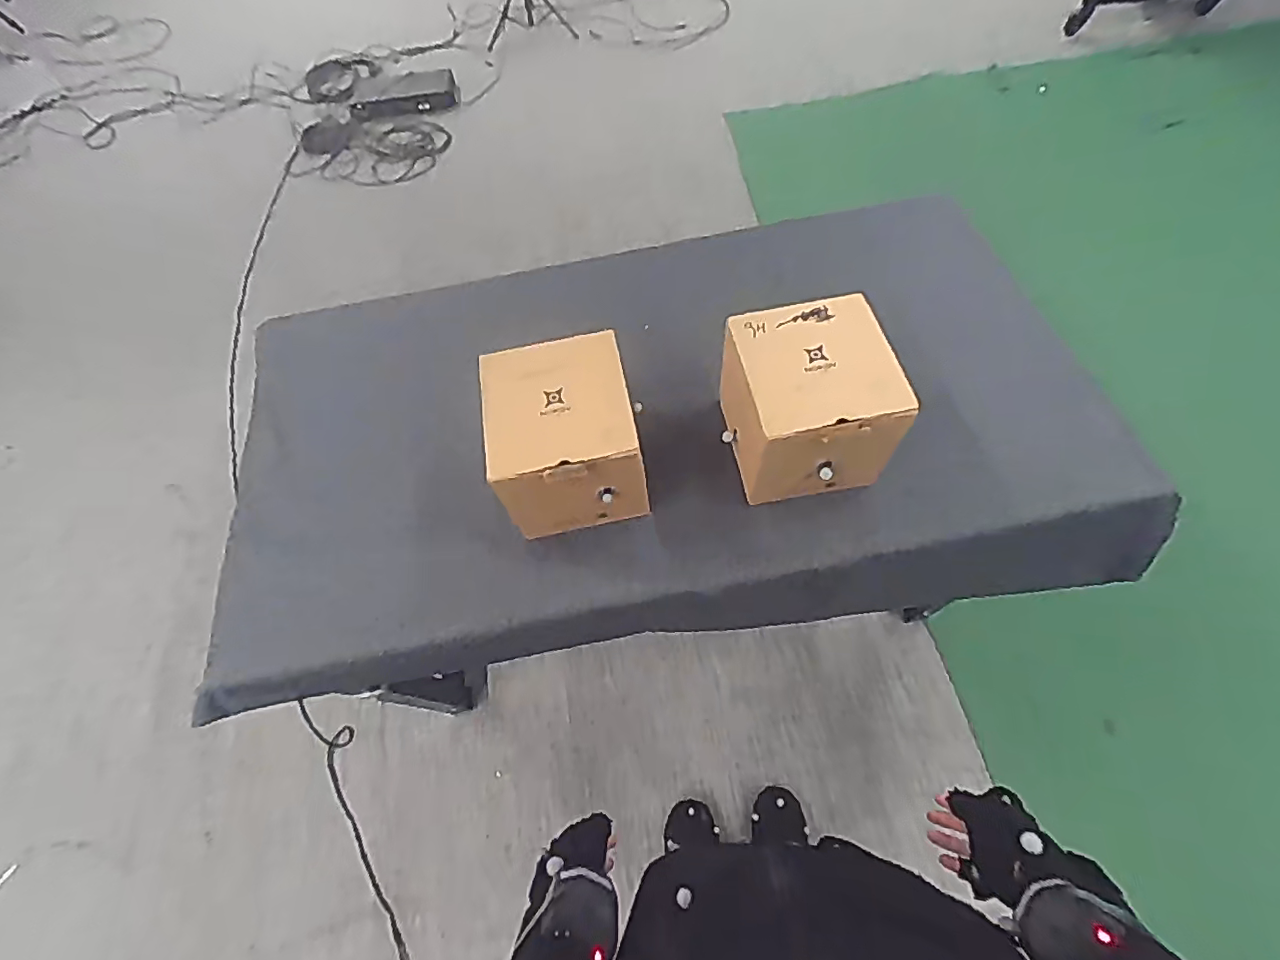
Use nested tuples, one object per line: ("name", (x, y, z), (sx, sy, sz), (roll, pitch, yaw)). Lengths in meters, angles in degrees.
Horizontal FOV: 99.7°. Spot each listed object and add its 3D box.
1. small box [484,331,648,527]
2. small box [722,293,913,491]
("small box", (-0.087, -0.054, 0.684), (0.168, 0.176, 0.179), (-12, 61, -3))
("small box", (0.204, -0.098, 0.680), (0.168, 0.176, 0.179), (-10, 63, -1))
